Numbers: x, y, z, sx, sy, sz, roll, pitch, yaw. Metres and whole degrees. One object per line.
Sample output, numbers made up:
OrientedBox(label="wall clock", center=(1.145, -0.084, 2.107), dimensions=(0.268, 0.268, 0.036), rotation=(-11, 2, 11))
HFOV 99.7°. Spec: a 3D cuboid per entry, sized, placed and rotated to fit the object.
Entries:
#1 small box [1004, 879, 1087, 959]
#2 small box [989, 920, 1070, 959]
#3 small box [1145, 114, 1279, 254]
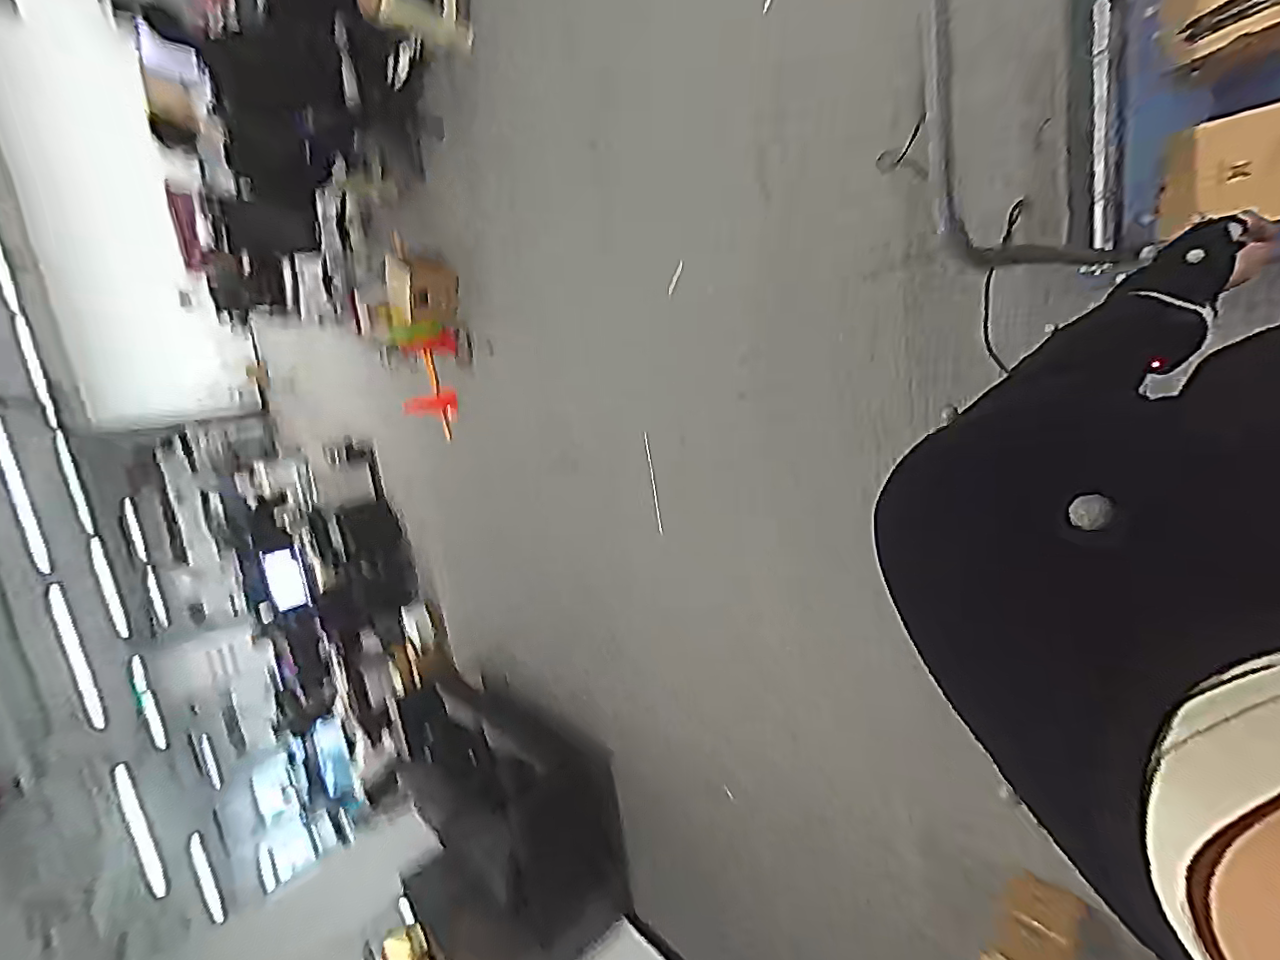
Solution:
OrientedBox(label="small box", center=(1.166, 1.316, 1.558), dimensions=(0.168, 0.176, 0.179), rotation=(6, 106, 48))
OrientedBox(label="small box", center=(1.046, 1.361, 1.454), dimensions=(0.168, 0.176, 0.179), rotation=(11, 111, 45))
OrientedBox(label="small box", center=(0.976, -0.481, 0.898), dimensions=(0.179, 0.176, 0.168), rotation=(7, 108, 47))
